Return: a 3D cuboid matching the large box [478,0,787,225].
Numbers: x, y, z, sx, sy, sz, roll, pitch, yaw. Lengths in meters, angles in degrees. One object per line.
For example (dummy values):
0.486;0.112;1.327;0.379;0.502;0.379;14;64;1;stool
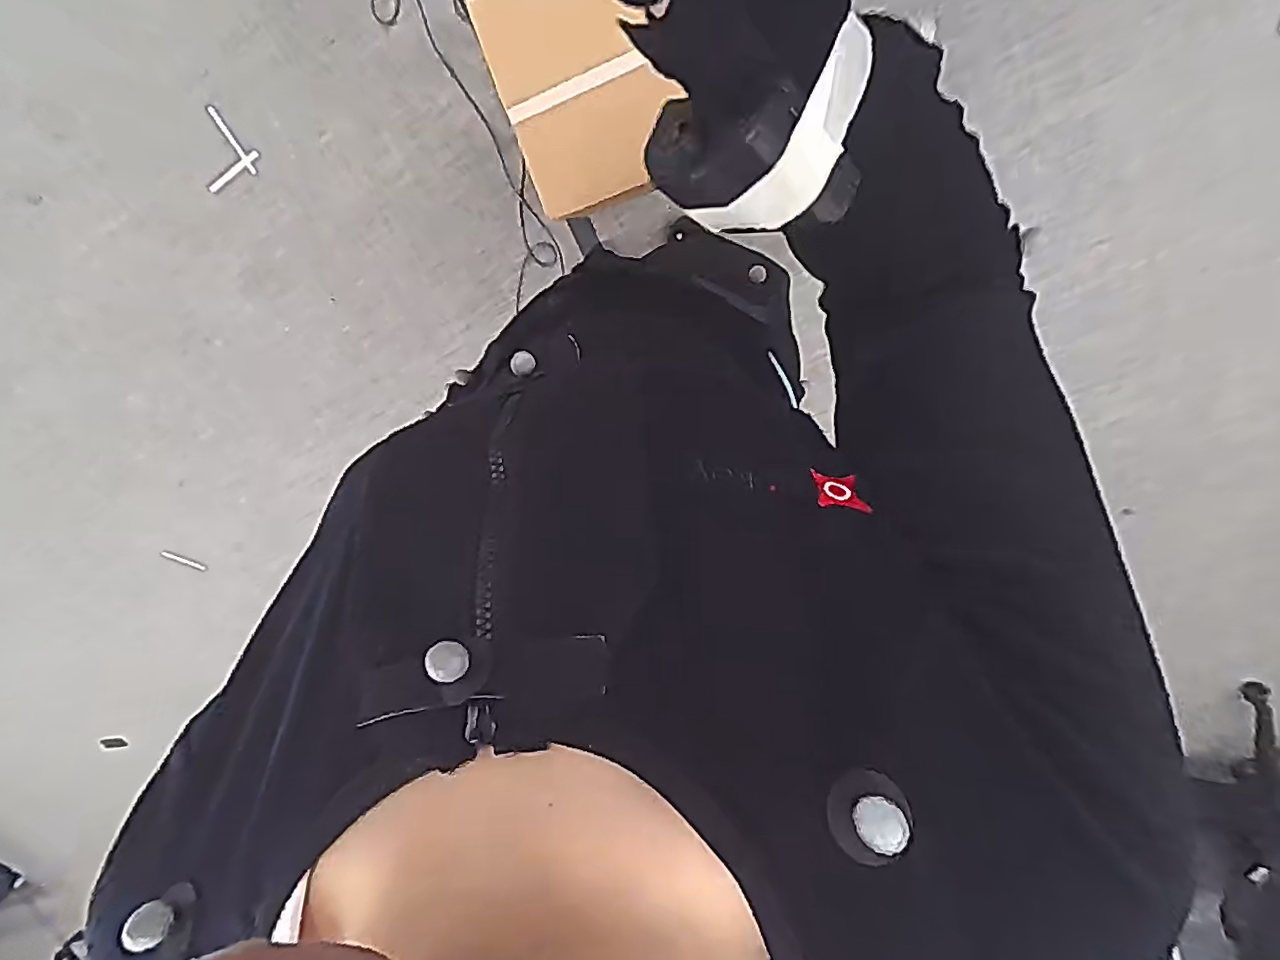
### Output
0.004;-0.679;0.945;0.408;0.320;0.320;-15;115;13;large box
